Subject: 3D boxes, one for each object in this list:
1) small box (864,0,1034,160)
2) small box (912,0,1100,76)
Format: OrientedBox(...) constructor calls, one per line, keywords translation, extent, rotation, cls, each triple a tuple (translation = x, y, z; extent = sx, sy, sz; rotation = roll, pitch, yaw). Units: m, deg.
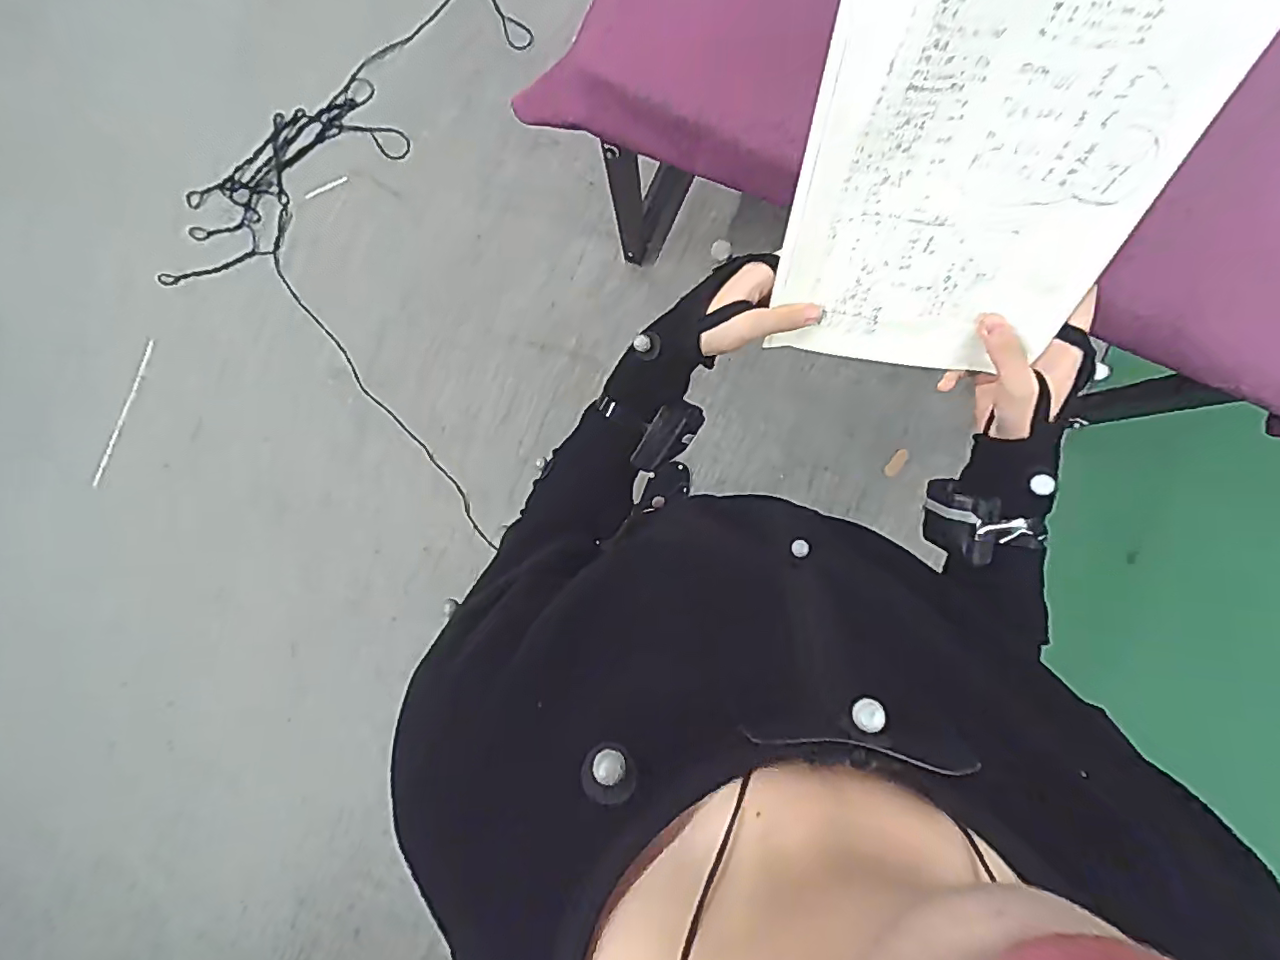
OrientedBox(translation=(0.417, -0.564, 0.703), extent=(0.168, 0.176, 0.179), rotation=(26, 91, 3), cls="small box")
OrientedBox(translation=(0.405, -0.562, 0.538), extent=(0.168, 0.176, 0.179), rotation=(26, 89, 4), cls="small box")
